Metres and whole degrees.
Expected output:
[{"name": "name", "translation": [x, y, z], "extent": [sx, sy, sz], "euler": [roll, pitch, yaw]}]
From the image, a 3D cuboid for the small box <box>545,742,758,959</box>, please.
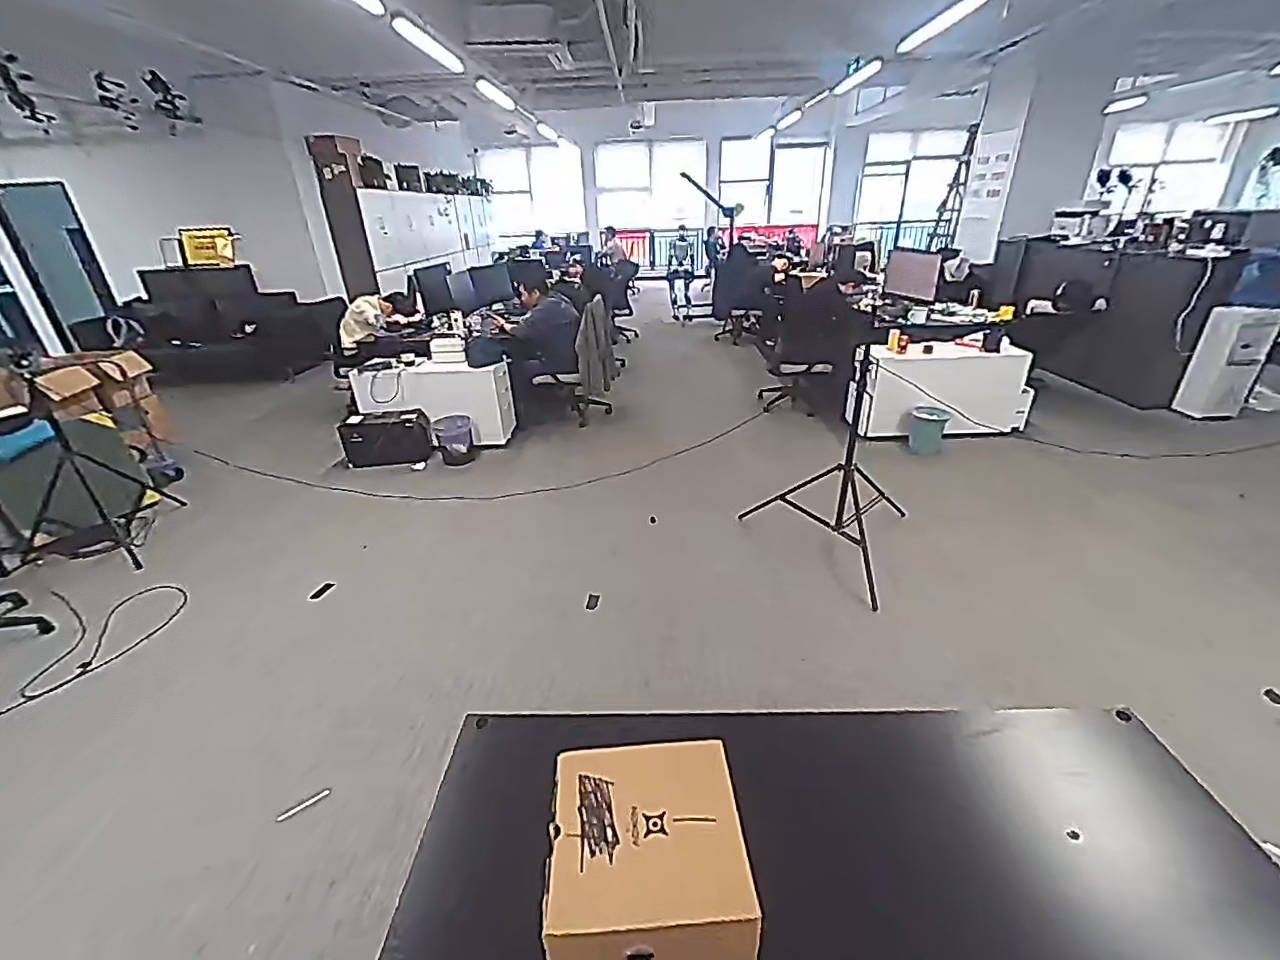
[{"name": "small box", "translation": [0.010, 0.393, 0.536], "extent": [0.179, 0.176, 0.168], "euler": [-3, 26, -2]}]
